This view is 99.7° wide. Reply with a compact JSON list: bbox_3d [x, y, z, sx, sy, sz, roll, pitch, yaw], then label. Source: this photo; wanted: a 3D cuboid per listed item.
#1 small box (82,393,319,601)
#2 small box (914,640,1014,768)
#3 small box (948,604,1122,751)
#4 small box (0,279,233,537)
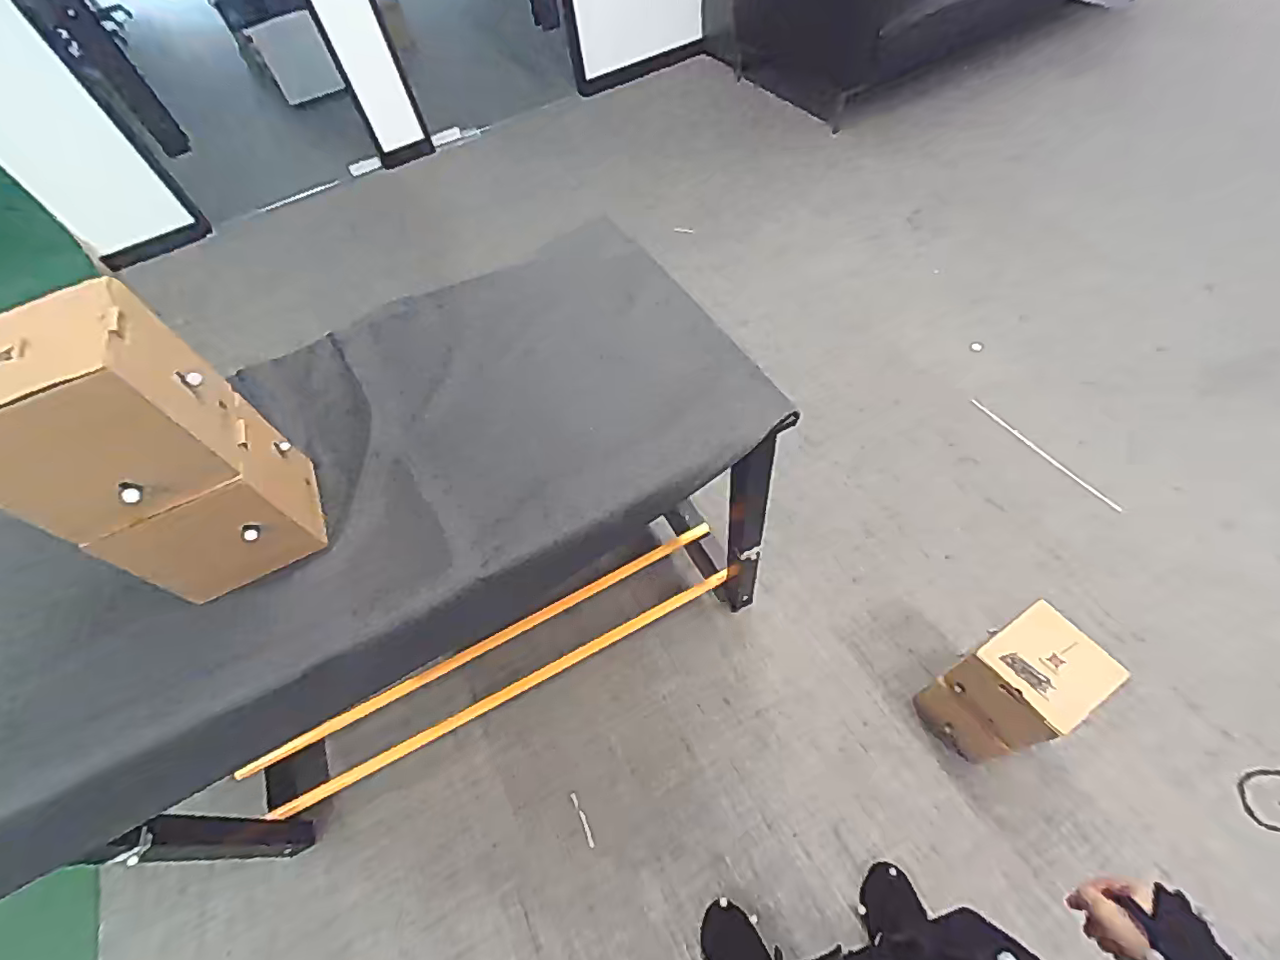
[{"bbox_3d":[-0.546,0.026,0.701,0.179,0.176,0.168,-27,55,-10],"label":"small box"},{"bbox_3d":[0.707,0.464,1.121,0.179,0.176,0.168,-32,57,-14],"label":"small box"},{"bbox_3d":[0.701,0.366,0.989,0.179,0.176,0.168,-30,58,-15],"label":"small box"},{"bbox_3d":[-0.568,-0.072,0.571,0.179,0.176,0.168,-27,56,-12],"label":"small box"}]
